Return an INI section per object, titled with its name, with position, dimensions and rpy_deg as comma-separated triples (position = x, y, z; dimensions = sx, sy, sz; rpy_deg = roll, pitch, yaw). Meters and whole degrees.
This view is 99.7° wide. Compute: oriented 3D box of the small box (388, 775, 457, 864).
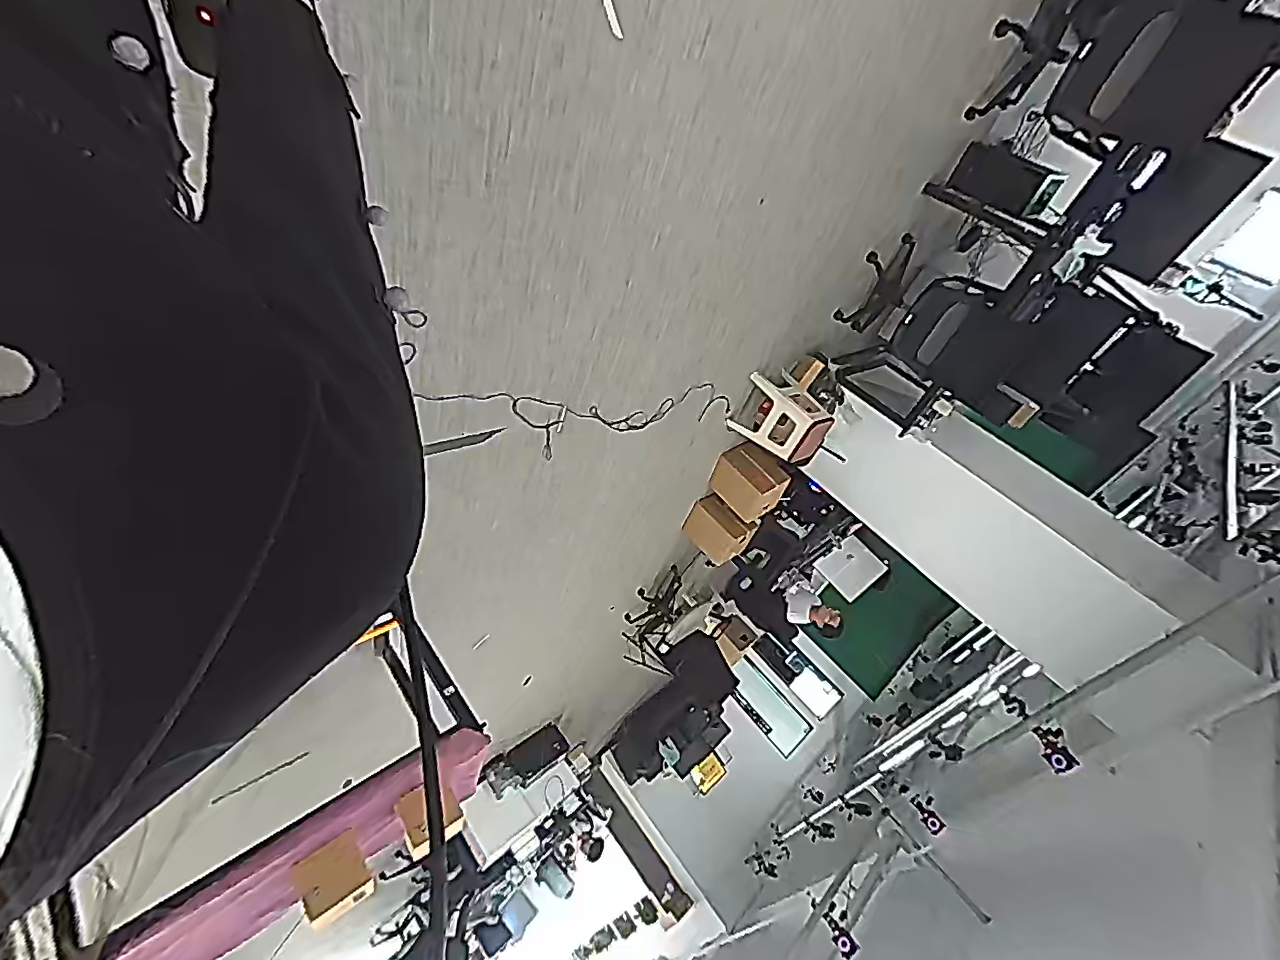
[small box]
position = -0.750, 1.160, 1.856
dimensions = 0.179, 0.176, 0.168
rpy_deg = -20, 146, -38
